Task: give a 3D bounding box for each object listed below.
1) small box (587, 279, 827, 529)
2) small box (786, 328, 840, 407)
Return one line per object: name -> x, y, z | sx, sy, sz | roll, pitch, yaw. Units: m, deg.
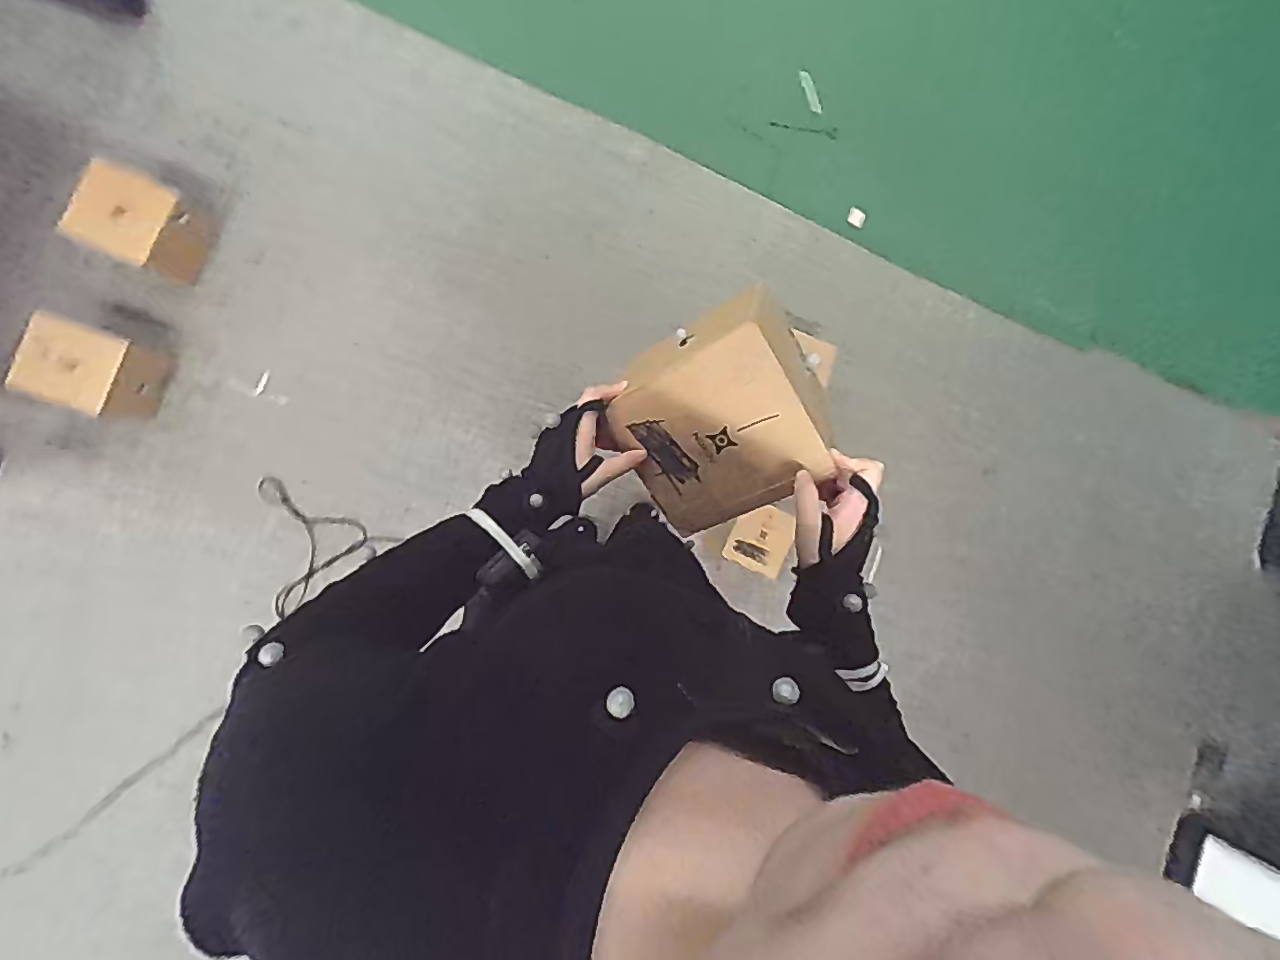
small box -> 0.079, -0.083, 0.570 | 0.179, 0.176, 0.168 | -27, 110, 27
small box -> 0.409, -0.295, 1.483 | 0.179, 0.176, 0.168 | 19, 89, -11
